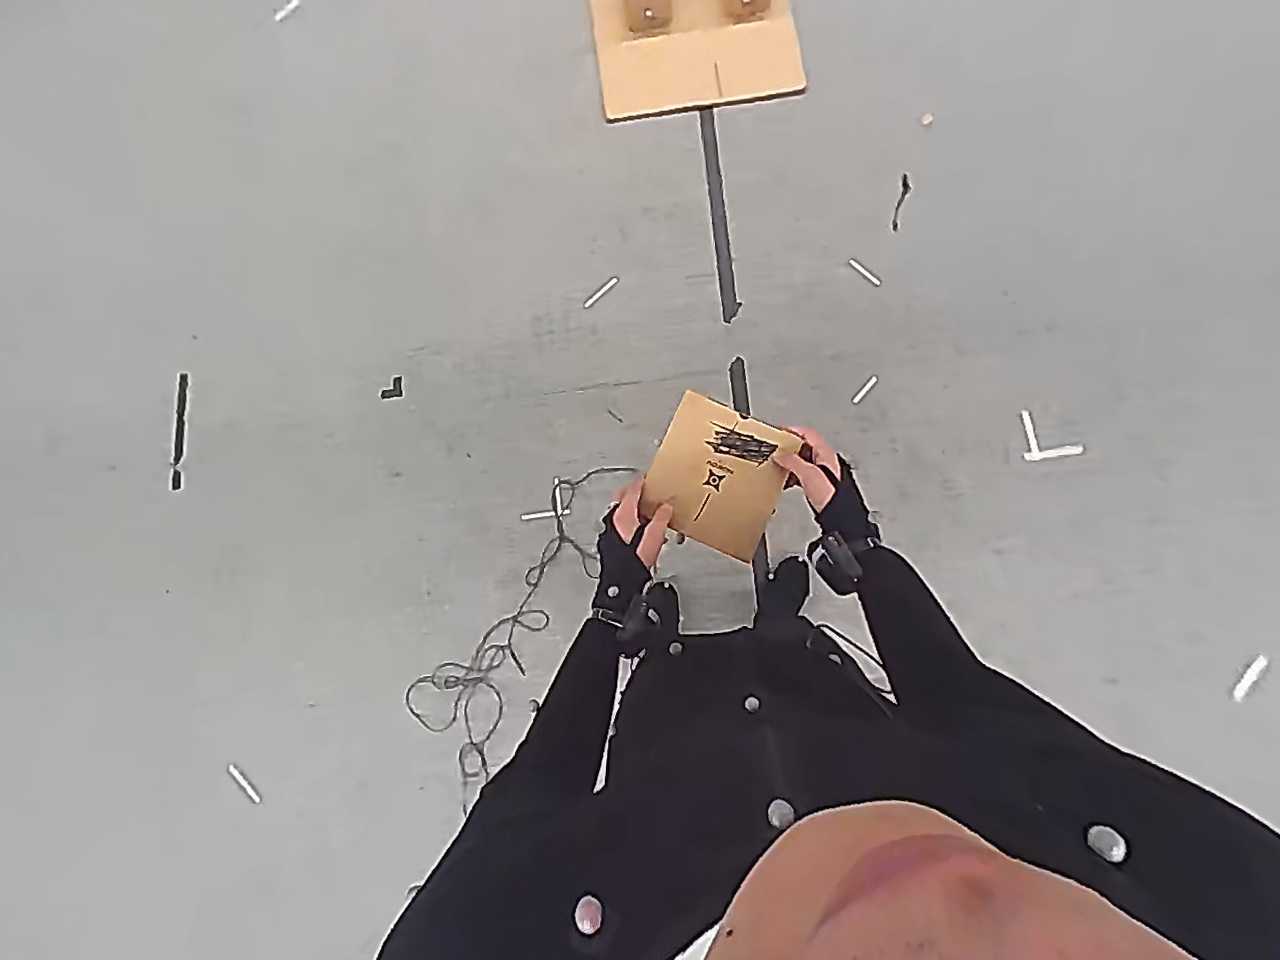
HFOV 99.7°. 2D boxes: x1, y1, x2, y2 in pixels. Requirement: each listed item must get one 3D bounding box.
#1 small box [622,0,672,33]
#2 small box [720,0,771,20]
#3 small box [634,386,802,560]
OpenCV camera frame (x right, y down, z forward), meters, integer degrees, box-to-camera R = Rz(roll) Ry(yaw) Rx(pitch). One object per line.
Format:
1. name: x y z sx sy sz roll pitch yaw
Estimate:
1. small box: 0.018 -1.691 1.849 0.168 0.176 0.179 -8 81 3
2. small box: 0.360 -1.732 1.843 0.168 0.176 0.179 -11 81 1
3. small box: 0.101 -0.006 0.764 0.168 0.176 0.179 24 88 4
